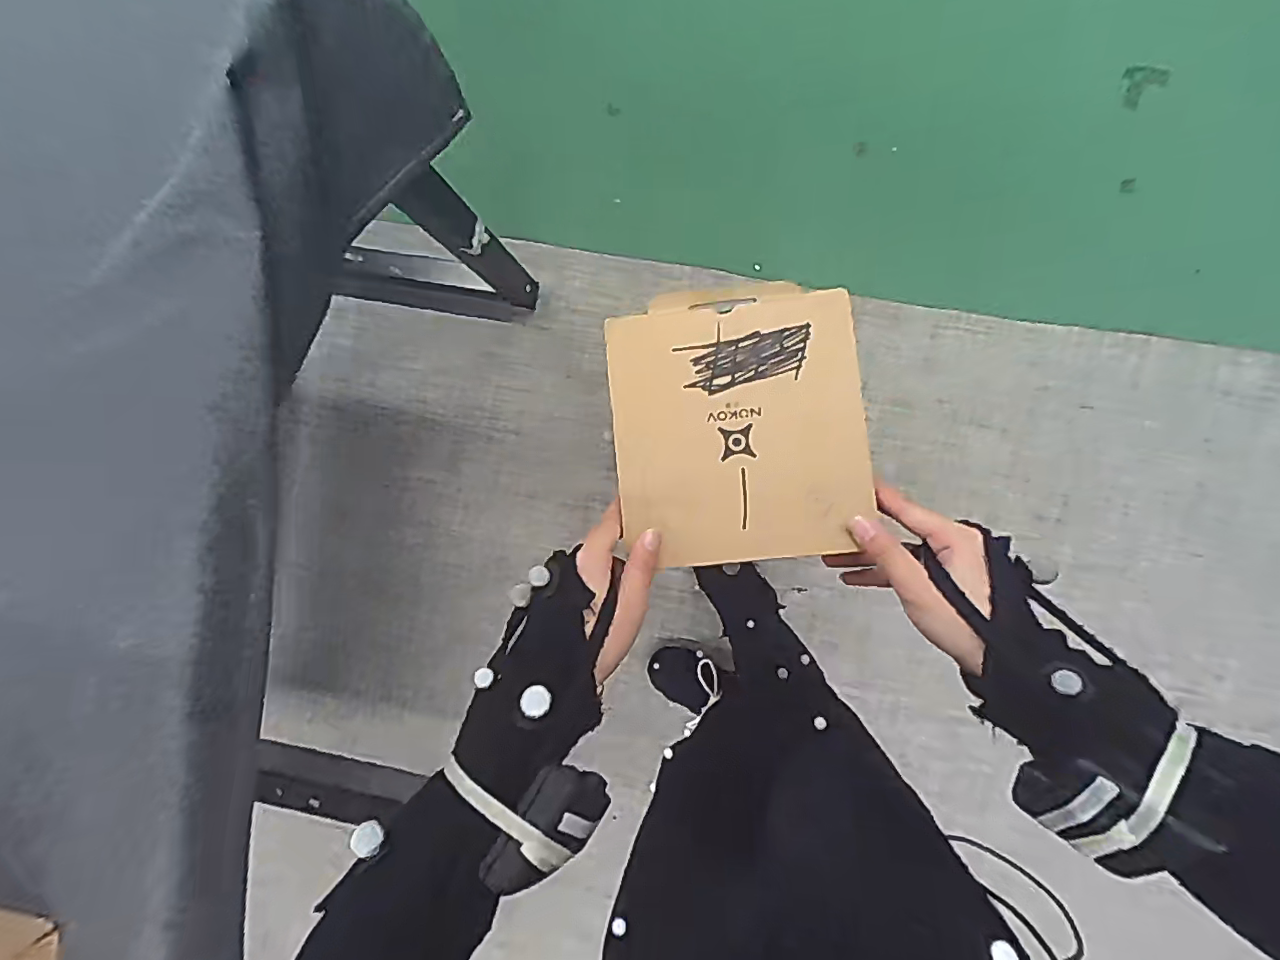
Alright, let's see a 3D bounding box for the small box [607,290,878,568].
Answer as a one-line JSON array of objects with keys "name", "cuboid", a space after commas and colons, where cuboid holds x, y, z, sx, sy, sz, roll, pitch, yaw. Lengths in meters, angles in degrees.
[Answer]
[{"name": "small box", "cuboid": [0.070, -0.027, 0.435, 0.168, 0.176, 0.179, -6, 85, 5]}]
